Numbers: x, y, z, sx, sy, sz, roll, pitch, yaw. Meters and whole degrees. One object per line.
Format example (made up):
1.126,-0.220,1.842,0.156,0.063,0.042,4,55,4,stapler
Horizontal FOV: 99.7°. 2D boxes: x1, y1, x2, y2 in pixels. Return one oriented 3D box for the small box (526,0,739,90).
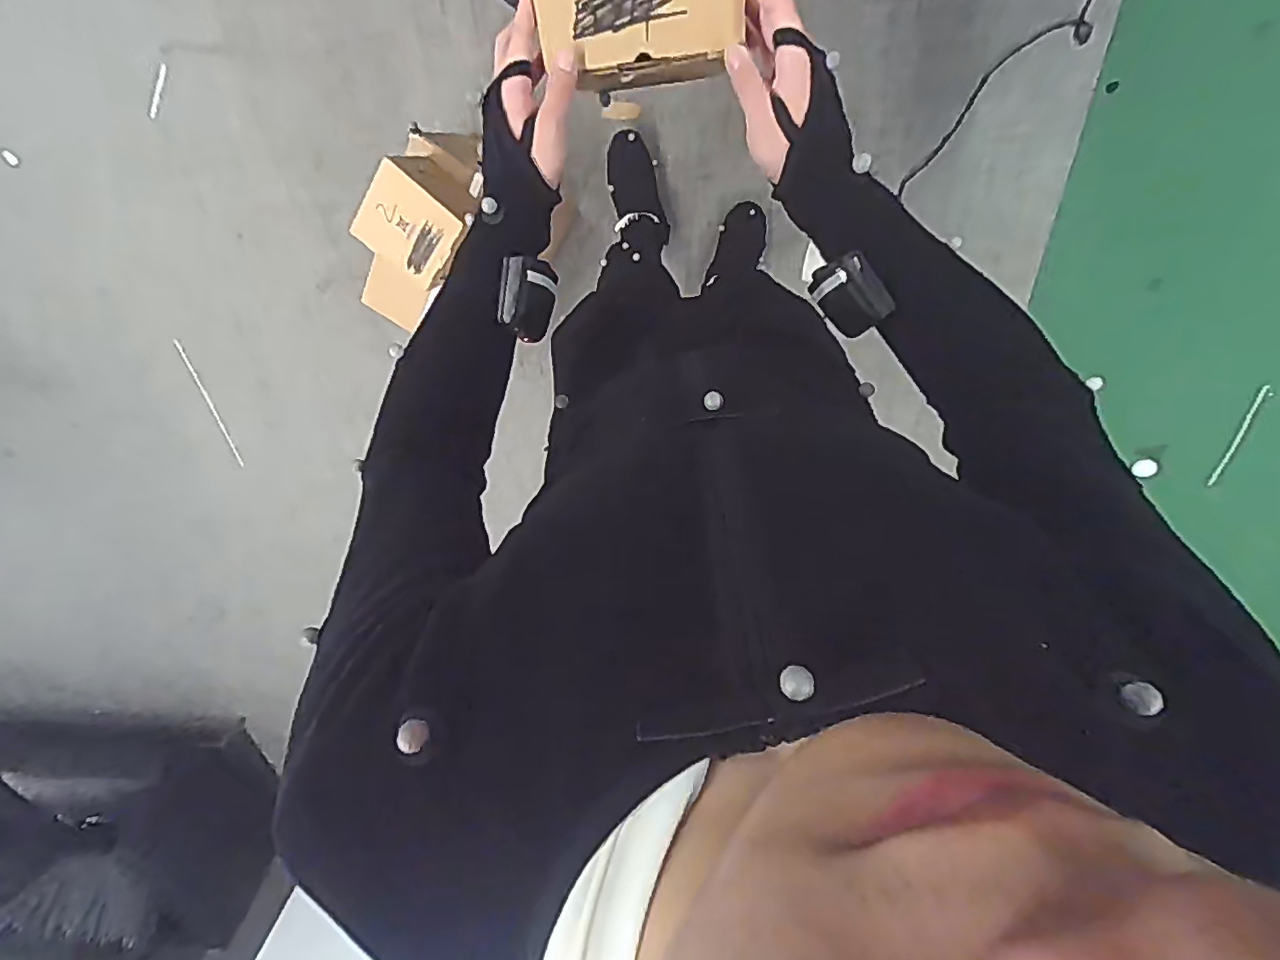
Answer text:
-0.004,-0.447,0.456,0.168,0.176,0.179,-3,120,7,small box
